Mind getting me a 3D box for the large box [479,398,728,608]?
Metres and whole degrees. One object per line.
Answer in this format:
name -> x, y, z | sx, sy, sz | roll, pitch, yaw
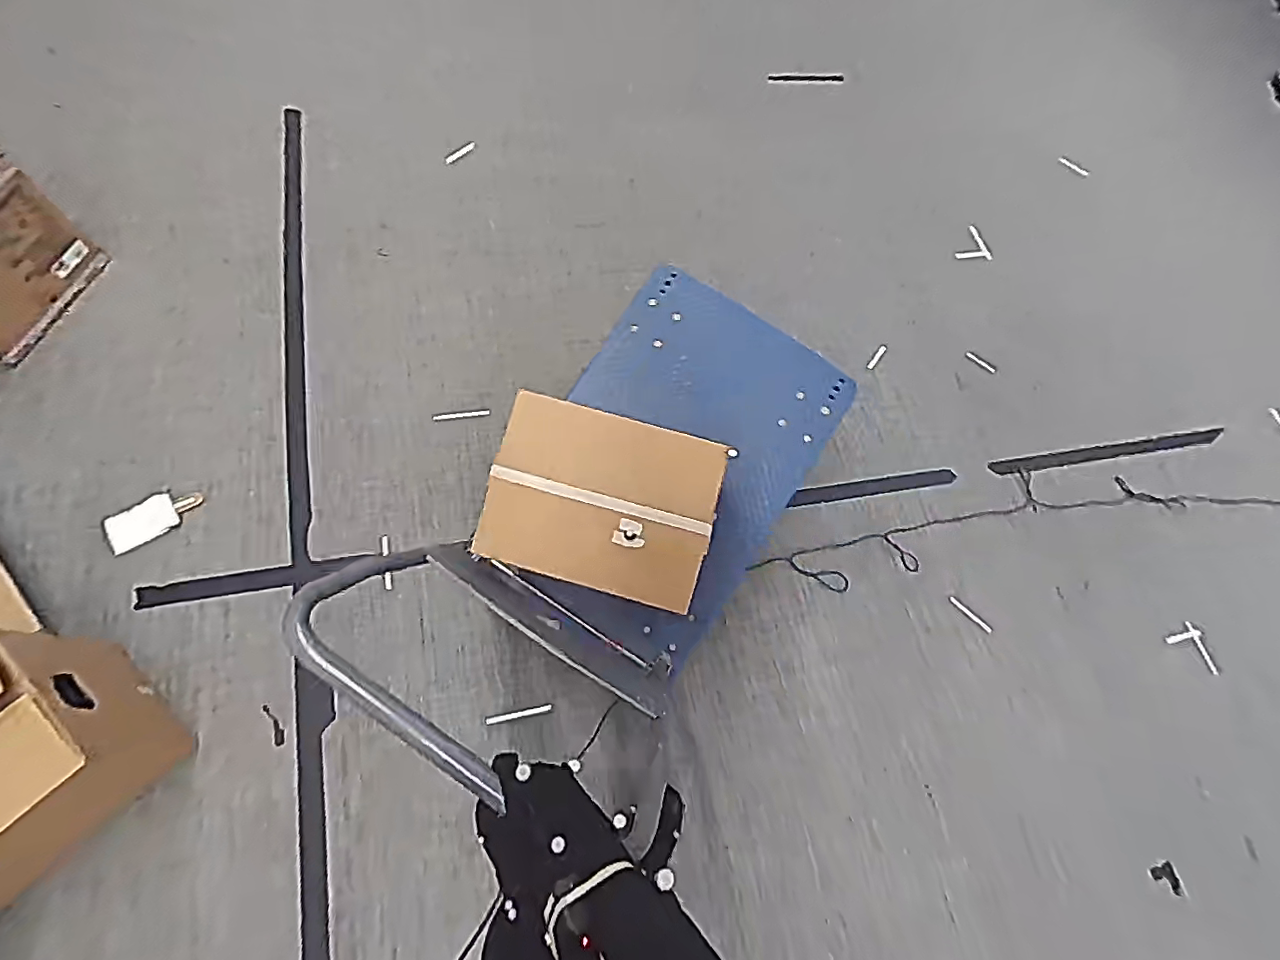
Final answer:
large box -> -0.066, 0.053, 1.128 | 0.408, 0.320, 0.320 | 14, 85, 2
